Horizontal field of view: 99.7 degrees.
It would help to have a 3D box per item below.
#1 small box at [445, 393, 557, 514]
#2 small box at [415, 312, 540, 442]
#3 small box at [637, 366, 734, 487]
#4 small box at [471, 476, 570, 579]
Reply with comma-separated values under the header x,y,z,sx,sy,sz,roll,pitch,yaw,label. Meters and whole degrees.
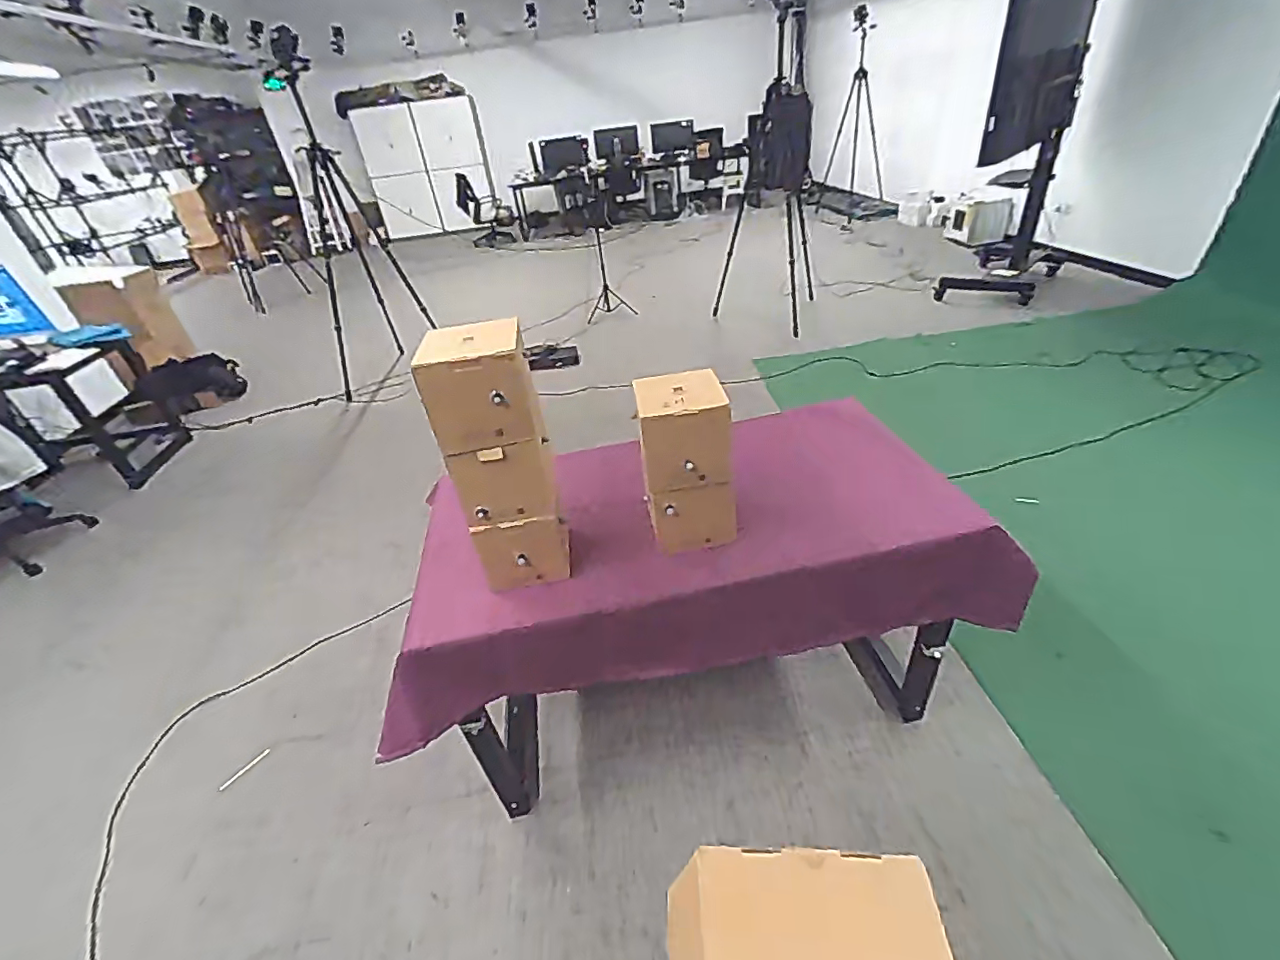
x,y,z,sx,sy,sz,roll,pitch,yaw,label
-0.257,-0.047,1.048,0.168,0.176,0.179,-8,34,-2,small box
-0.272,-0.177,0.951,0.168,0.176,0.179,-9,35,-4,small box
0.087,-0.107,1.071,0.168,0.176,0.179,-8,35,0,small box
-0.242,0.091,1.137,0.168,0.176,0.179,-8,36,-3,small box
